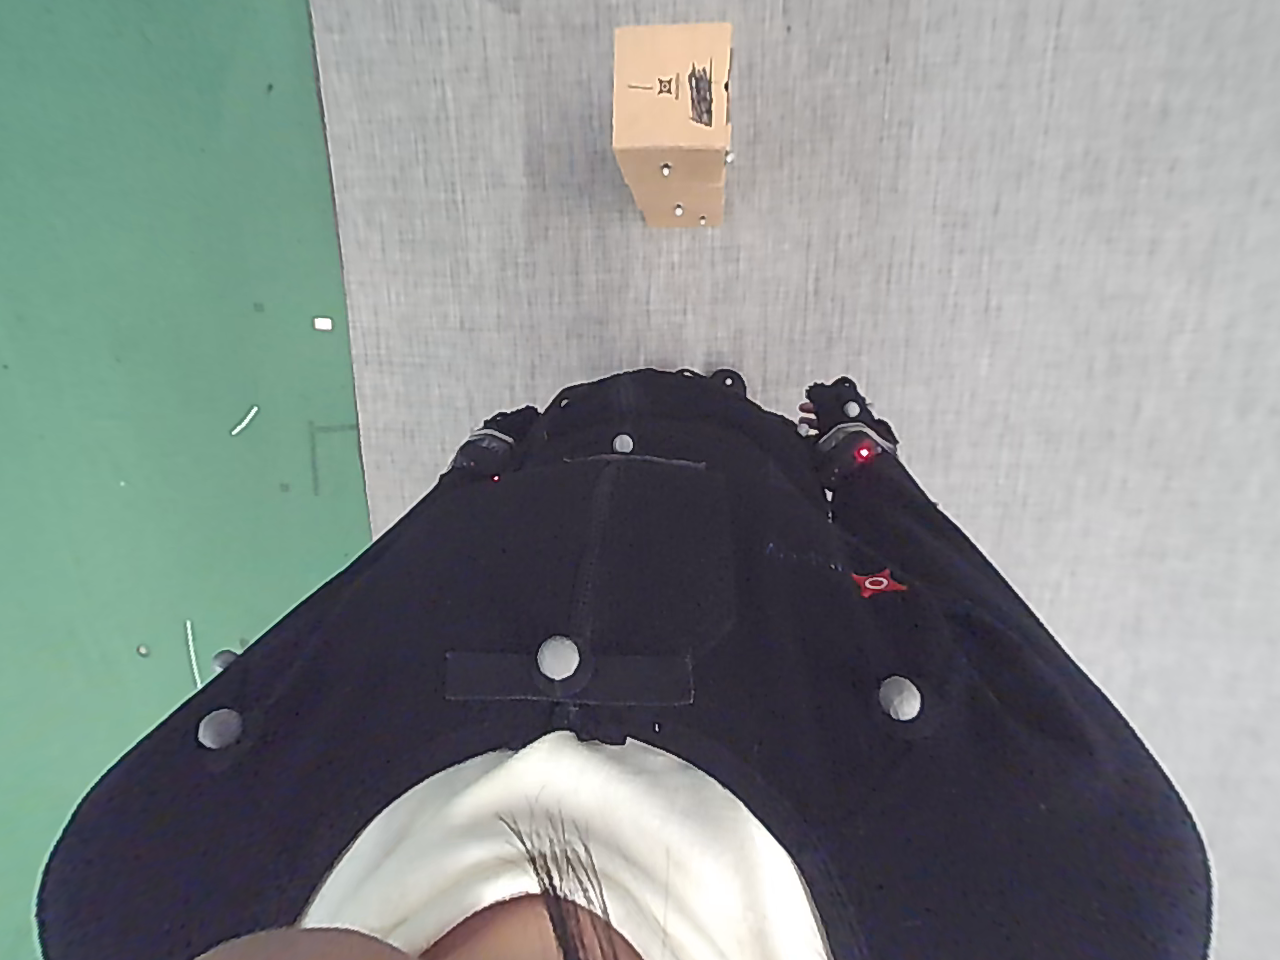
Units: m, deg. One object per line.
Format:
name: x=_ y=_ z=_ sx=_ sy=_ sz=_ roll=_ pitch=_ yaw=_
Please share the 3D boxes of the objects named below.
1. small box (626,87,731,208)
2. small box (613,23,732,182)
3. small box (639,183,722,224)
small box: x=0.074 y=-0.638 z=1.046 sx=0.179 sy=0.176 sz=0.168 roll=5 pitch=103 yaw=5
small box: x=0.053 y=-0.605 z=0.886 sx=0.179 sy=0.176 sz=0.168 roll=1 pitch=102 yaw=5
small box: x=0.094 y=-0.679 z=1.204 sx=0.179 sy=0.176 sz=0.168 roll=2 pitch=102 yaw=8
